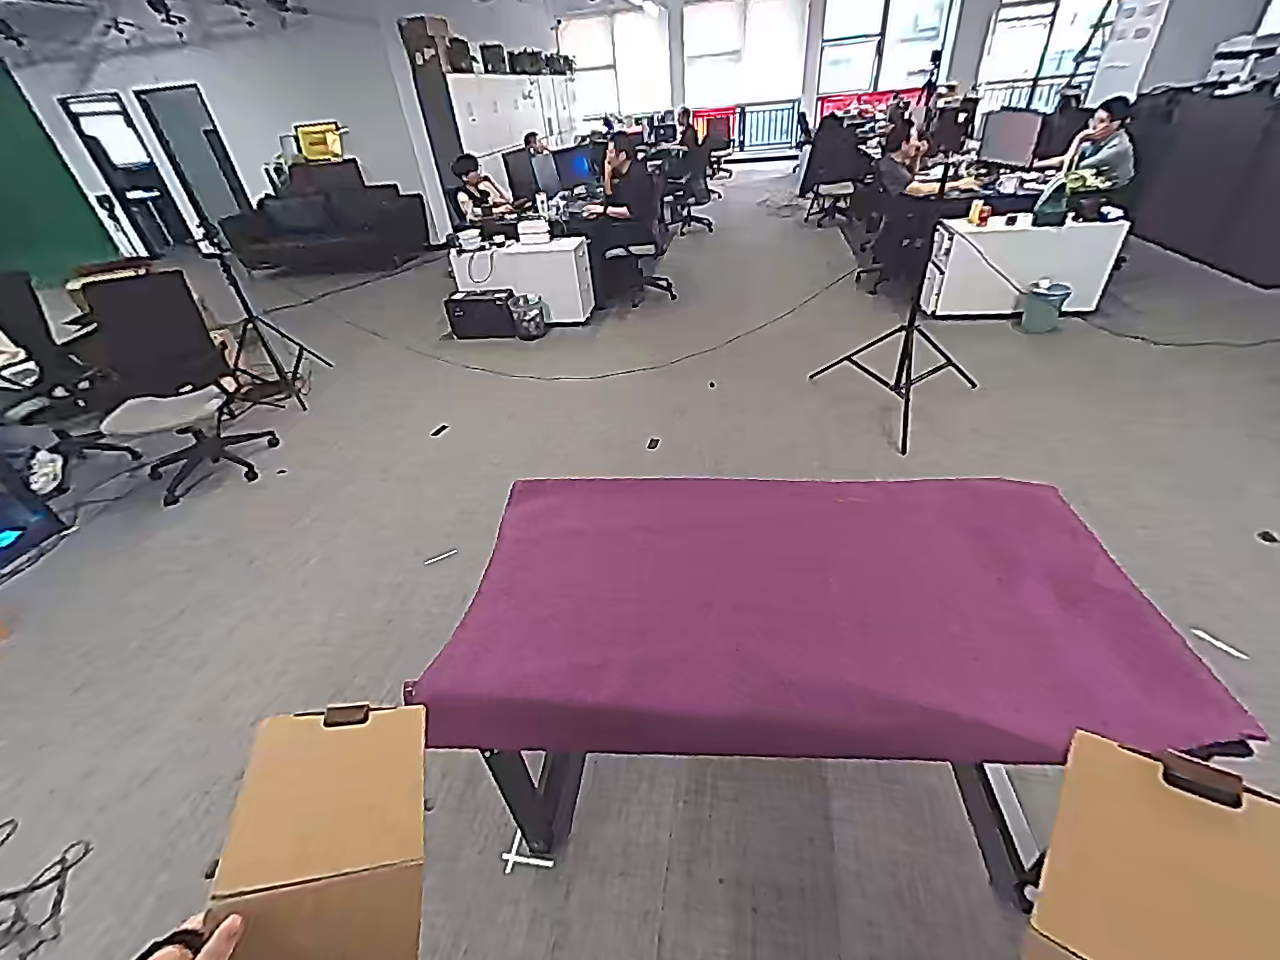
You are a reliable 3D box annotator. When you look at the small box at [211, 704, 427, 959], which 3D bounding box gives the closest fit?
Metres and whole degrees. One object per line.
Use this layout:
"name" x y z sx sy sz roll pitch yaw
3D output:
"small box" -0.325 0.371 0.576 0.168 0.176 0.179 7 28 -25
